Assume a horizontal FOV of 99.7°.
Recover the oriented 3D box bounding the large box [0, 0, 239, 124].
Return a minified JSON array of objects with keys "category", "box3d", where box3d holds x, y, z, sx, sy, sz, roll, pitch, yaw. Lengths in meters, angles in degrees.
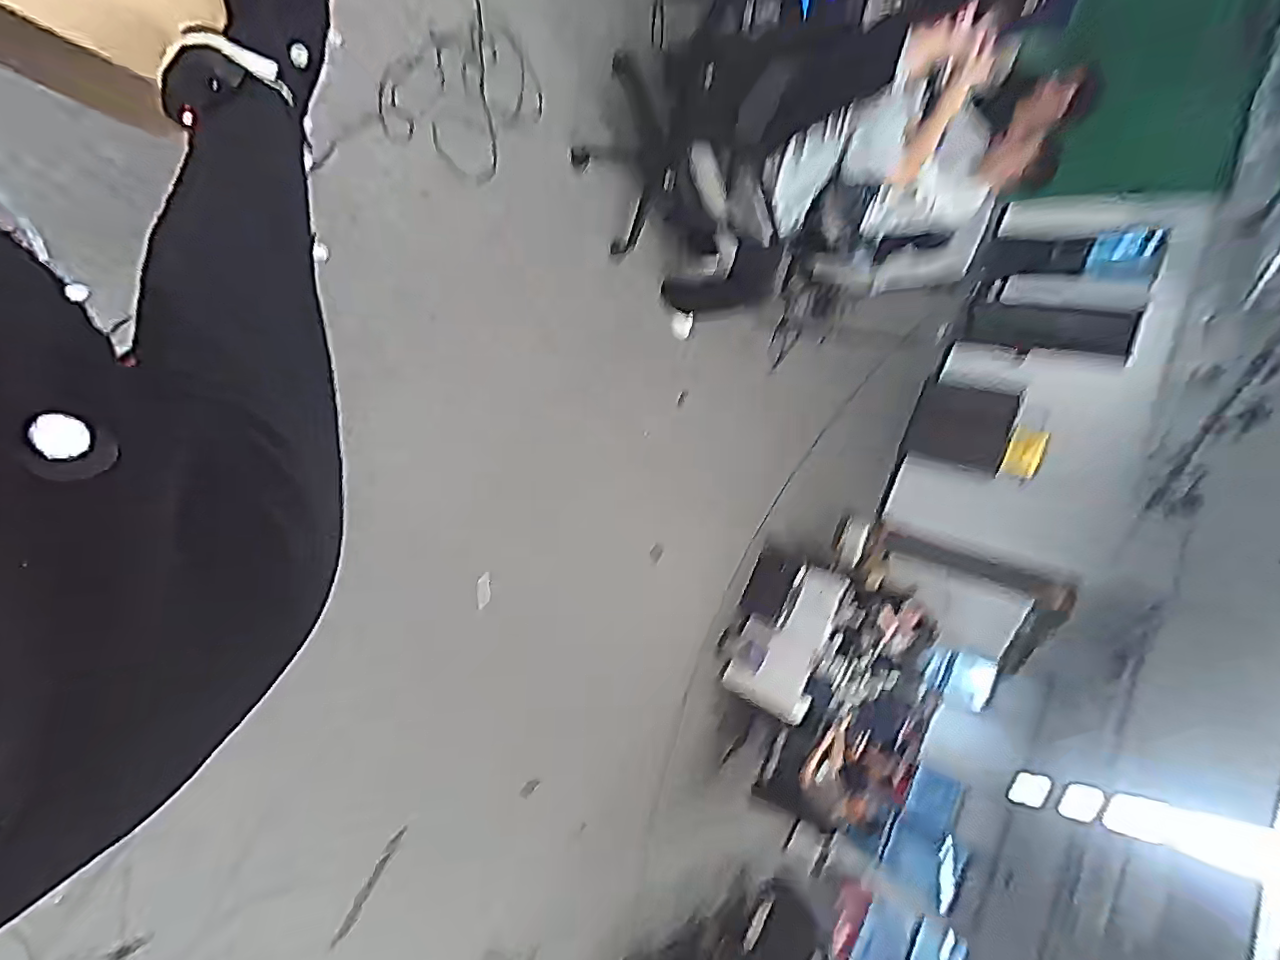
[{"category":"large box","box3d":[-0.556,-0.530,0.390,0.408,0.320,0.320,8,102,-53]}]
